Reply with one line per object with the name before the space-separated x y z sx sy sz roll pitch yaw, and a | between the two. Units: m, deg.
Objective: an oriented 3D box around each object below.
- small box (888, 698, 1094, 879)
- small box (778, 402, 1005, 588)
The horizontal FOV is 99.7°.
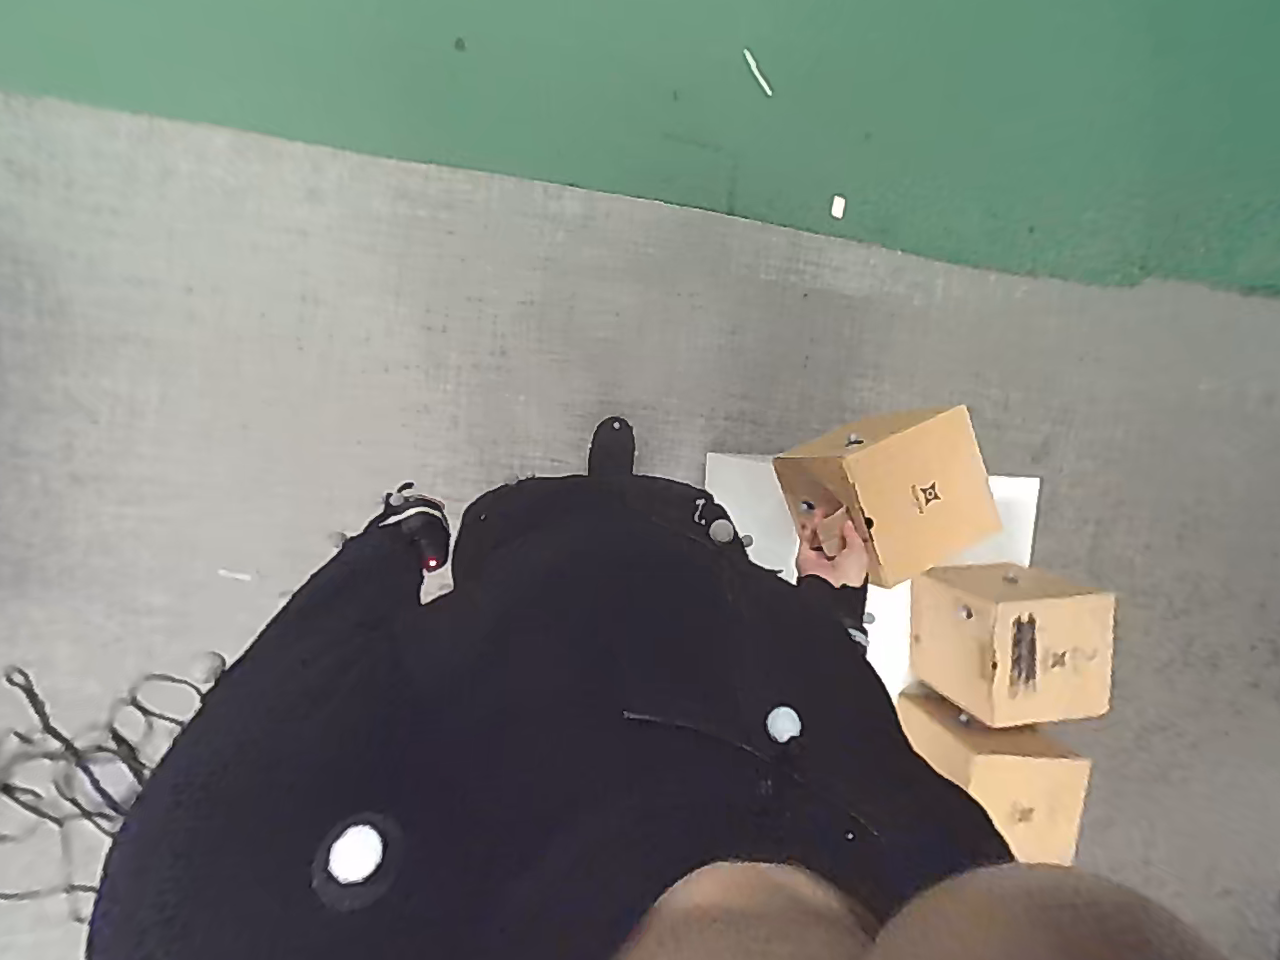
small box | 0.491 0.434 0.783 0.179 0.176 0.168 6 95 -9
small box | 0.310 0.011 0.694 0.179 0.176 0.168 -24 98 -12
